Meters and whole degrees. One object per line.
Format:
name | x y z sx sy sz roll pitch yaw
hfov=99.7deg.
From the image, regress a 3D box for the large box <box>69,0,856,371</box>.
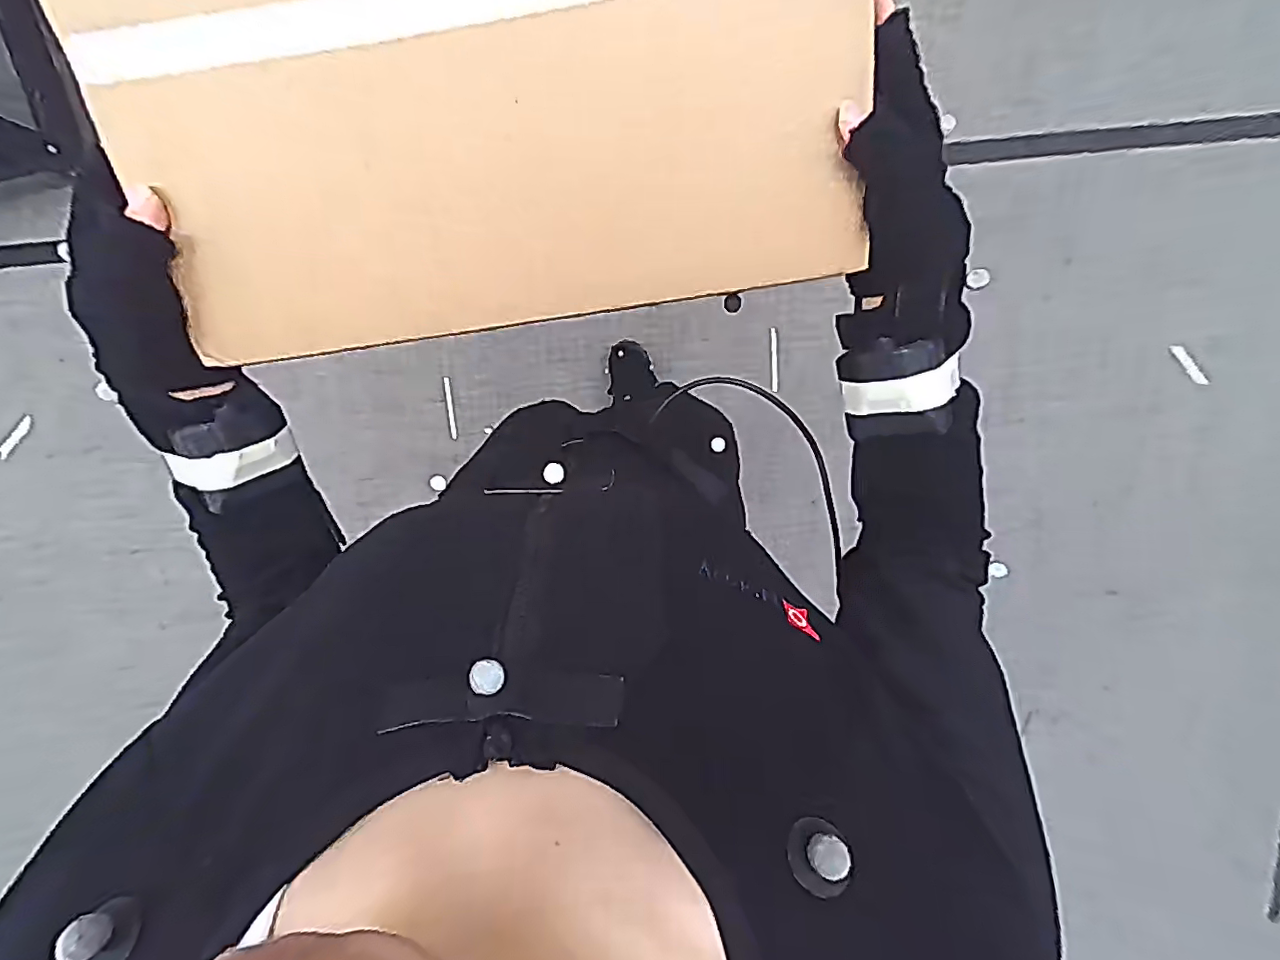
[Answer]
large box | -0.089 -0.294 0.419 0.408 0.320 0.320 -8 110 2
